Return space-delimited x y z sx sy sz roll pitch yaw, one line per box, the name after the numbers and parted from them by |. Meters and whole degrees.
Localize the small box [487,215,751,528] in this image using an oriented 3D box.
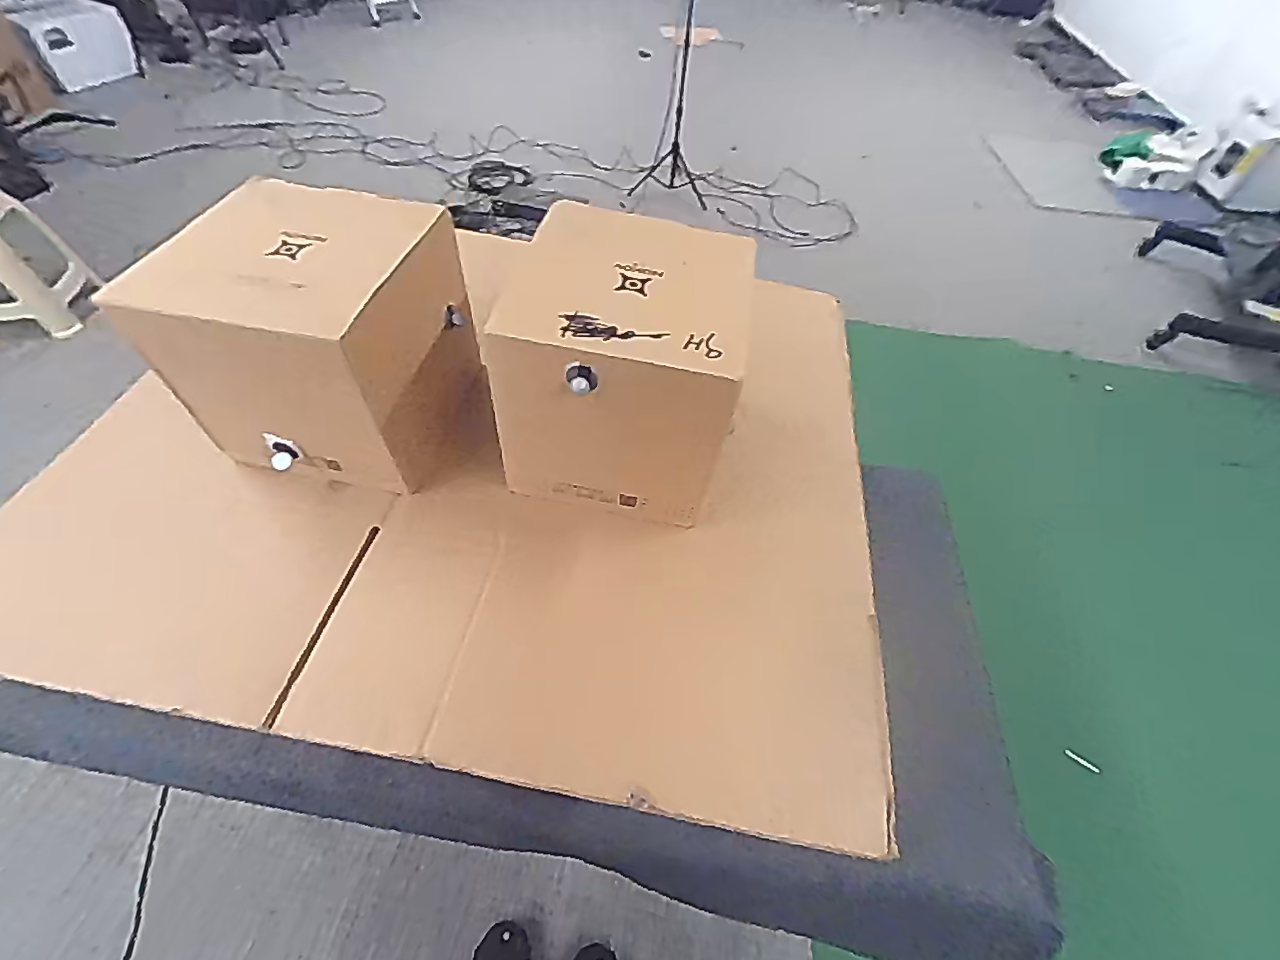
-0.012 -0.088 0.453 0.168 0.176 0.179 11 51 3 | small box

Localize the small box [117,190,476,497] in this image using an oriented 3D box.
-0.253 -0.112 0.460 0.168 0.176 0.179 9 54 4 | small box
